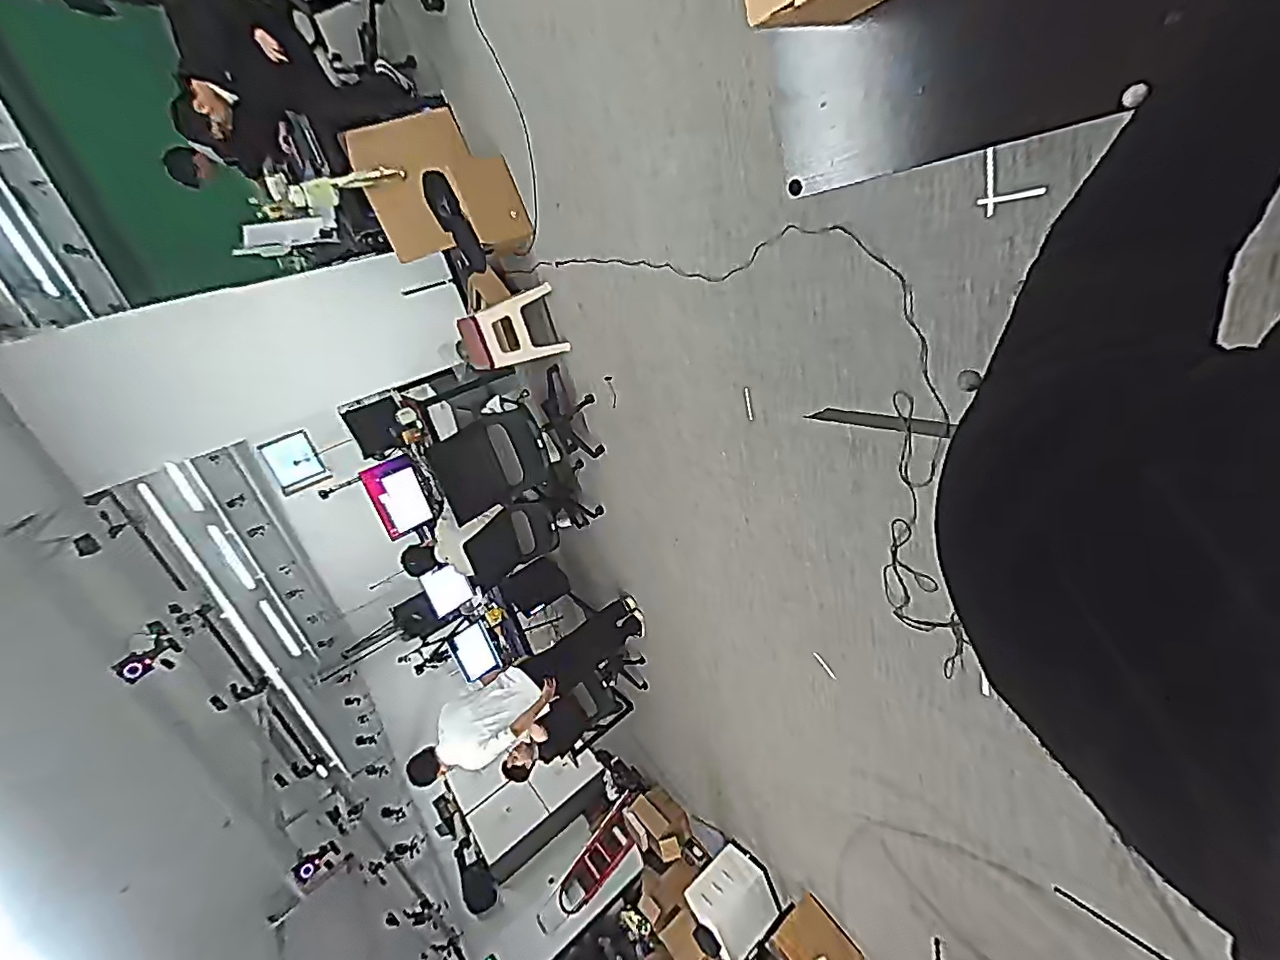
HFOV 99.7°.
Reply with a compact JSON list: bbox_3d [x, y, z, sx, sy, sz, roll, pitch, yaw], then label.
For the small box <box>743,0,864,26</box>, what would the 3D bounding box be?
[{"bbox_3d":[0.209,-0.606,0.549,0.168,0.176,0.179,15,128,51],"label":"small box"}]
